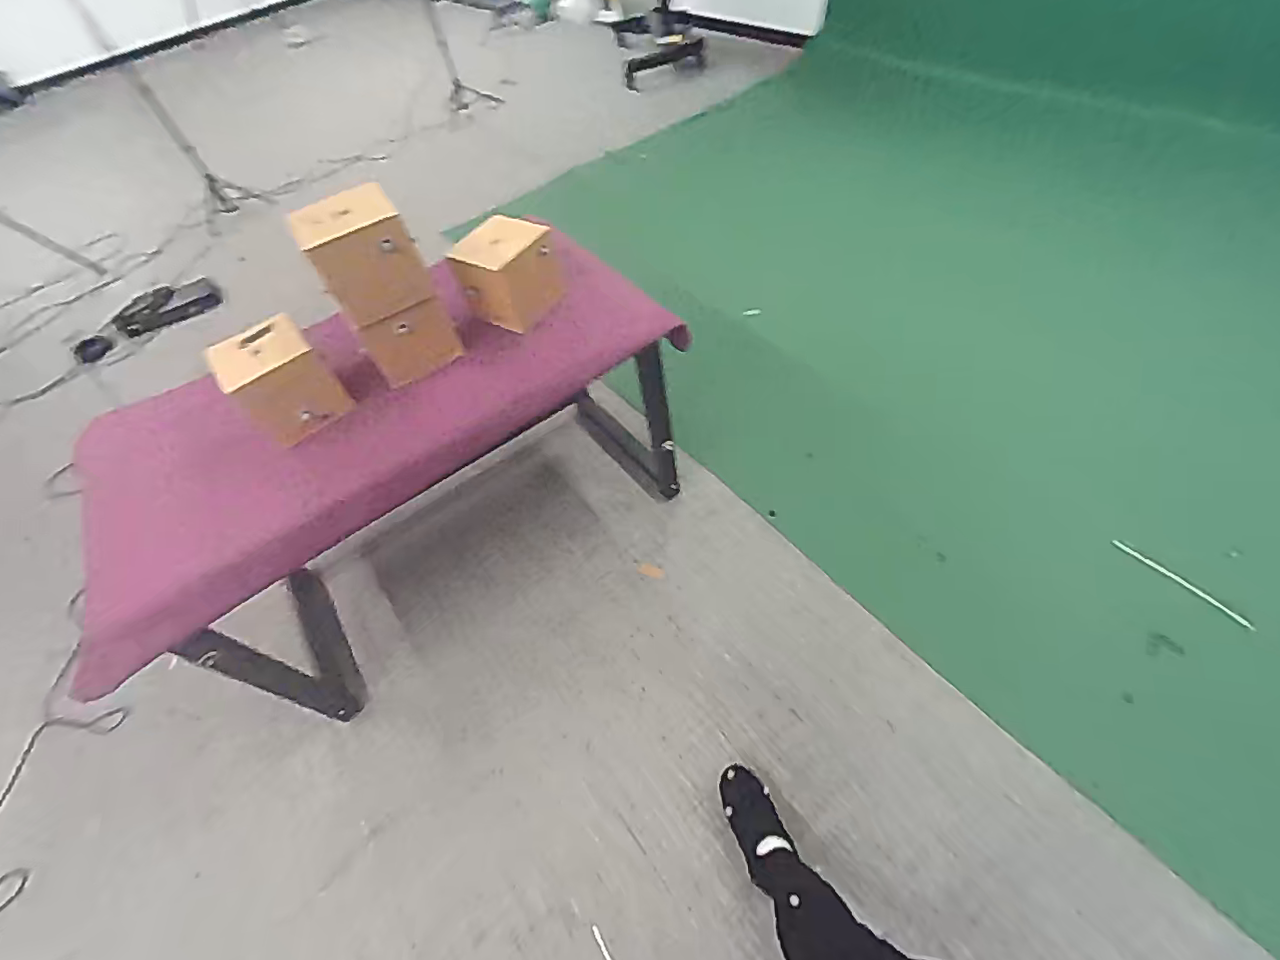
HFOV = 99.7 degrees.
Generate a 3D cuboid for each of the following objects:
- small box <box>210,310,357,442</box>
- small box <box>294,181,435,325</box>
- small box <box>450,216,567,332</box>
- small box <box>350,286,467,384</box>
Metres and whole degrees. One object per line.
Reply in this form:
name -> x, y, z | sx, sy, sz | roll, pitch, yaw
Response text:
small box -> -0.722, -0.209, 1.105 | 0.168, 0.176, 0.179 | -36, 57, -17
small box -> -0.516, -0.432, 1.035 | 0.179, 0.176, 0.168 | -29, 55, -13
small box -> -0.289, -0.466, 1.232 | 0.168, 0.176, 0.179 | 26, 61, 25
small box -> -0.505, -0.338, 1.170 | 0.179, 0.176, 0.168 | -30, 55, -13
